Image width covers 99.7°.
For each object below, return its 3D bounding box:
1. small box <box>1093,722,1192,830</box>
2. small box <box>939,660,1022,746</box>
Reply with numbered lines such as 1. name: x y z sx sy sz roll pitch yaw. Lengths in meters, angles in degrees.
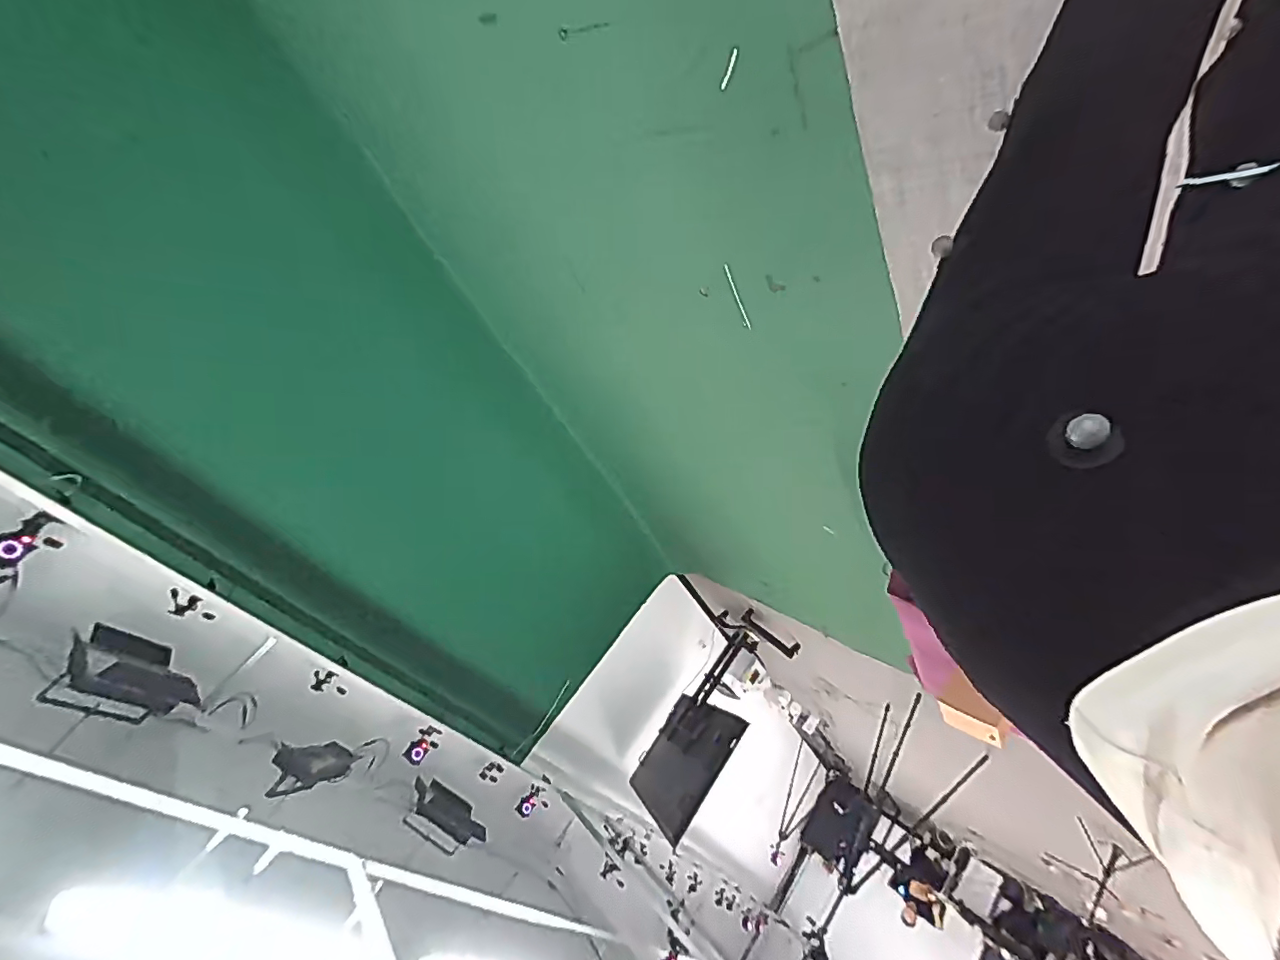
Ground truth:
1. small box: 1.350 0.788 1.456 0.168 0.176 0.179 17 151 49
2. small box: 1.100 0.710 1.747 0.179 0.176 0.168 18 151 48
